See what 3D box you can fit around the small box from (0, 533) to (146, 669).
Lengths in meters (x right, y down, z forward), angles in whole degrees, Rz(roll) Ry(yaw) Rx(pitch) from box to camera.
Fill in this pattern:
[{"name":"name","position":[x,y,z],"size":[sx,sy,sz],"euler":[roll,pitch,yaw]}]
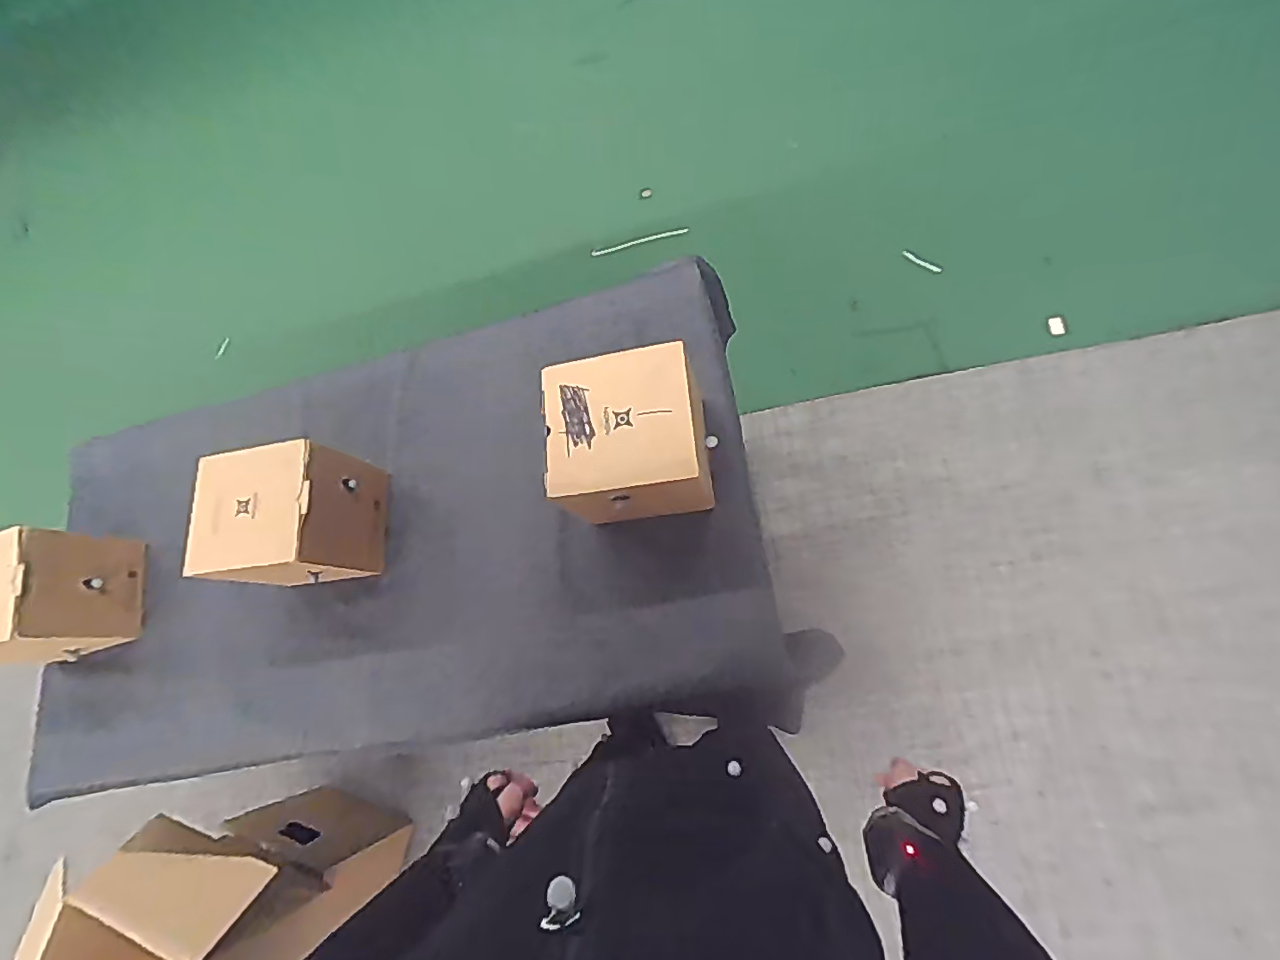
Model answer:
[{"name":"small box","position":[-0.928,0.193,0.845],"size":[0.179,0.176,0.168],"euler":[-17,71,7]}]

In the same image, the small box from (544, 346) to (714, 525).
[{"name":"small box","position":[-0.009,-0.044,0.686],"size":[0.179,0.176,0.168],"euler":[-8,73,10]}]

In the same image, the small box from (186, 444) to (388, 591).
[{"name":"small box","position":[-0.490,0.063,0.777],"size":[0.179,0.176,0.168],"euler":[-10,71,12]}]
